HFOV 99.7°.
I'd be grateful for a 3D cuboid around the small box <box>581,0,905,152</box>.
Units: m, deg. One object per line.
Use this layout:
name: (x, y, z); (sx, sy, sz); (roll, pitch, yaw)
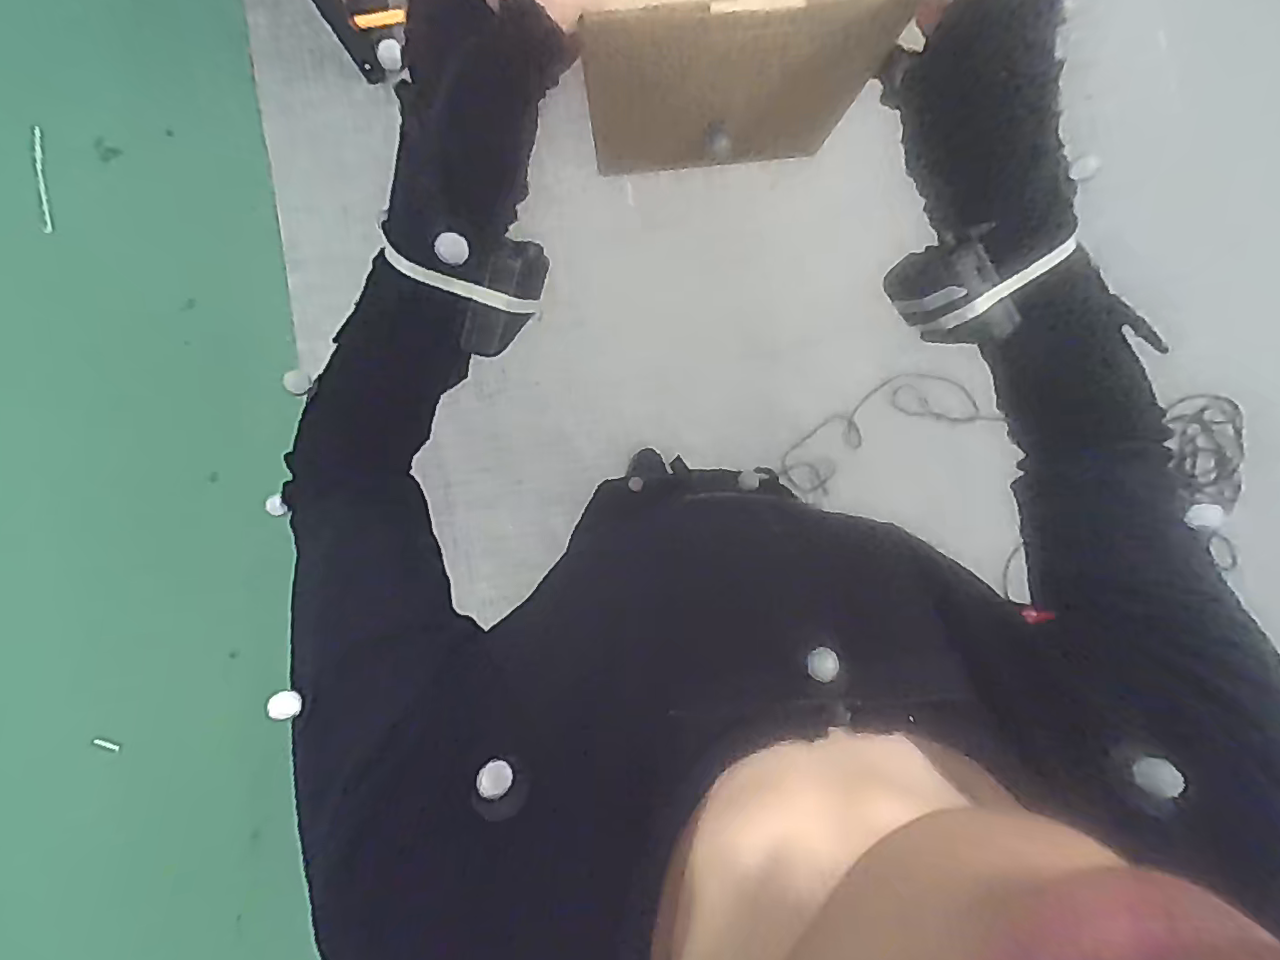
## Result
small box: (0.046, -0.324, 0.308); (0.168, 0.176, 0.179); (-5, 96, 0)
